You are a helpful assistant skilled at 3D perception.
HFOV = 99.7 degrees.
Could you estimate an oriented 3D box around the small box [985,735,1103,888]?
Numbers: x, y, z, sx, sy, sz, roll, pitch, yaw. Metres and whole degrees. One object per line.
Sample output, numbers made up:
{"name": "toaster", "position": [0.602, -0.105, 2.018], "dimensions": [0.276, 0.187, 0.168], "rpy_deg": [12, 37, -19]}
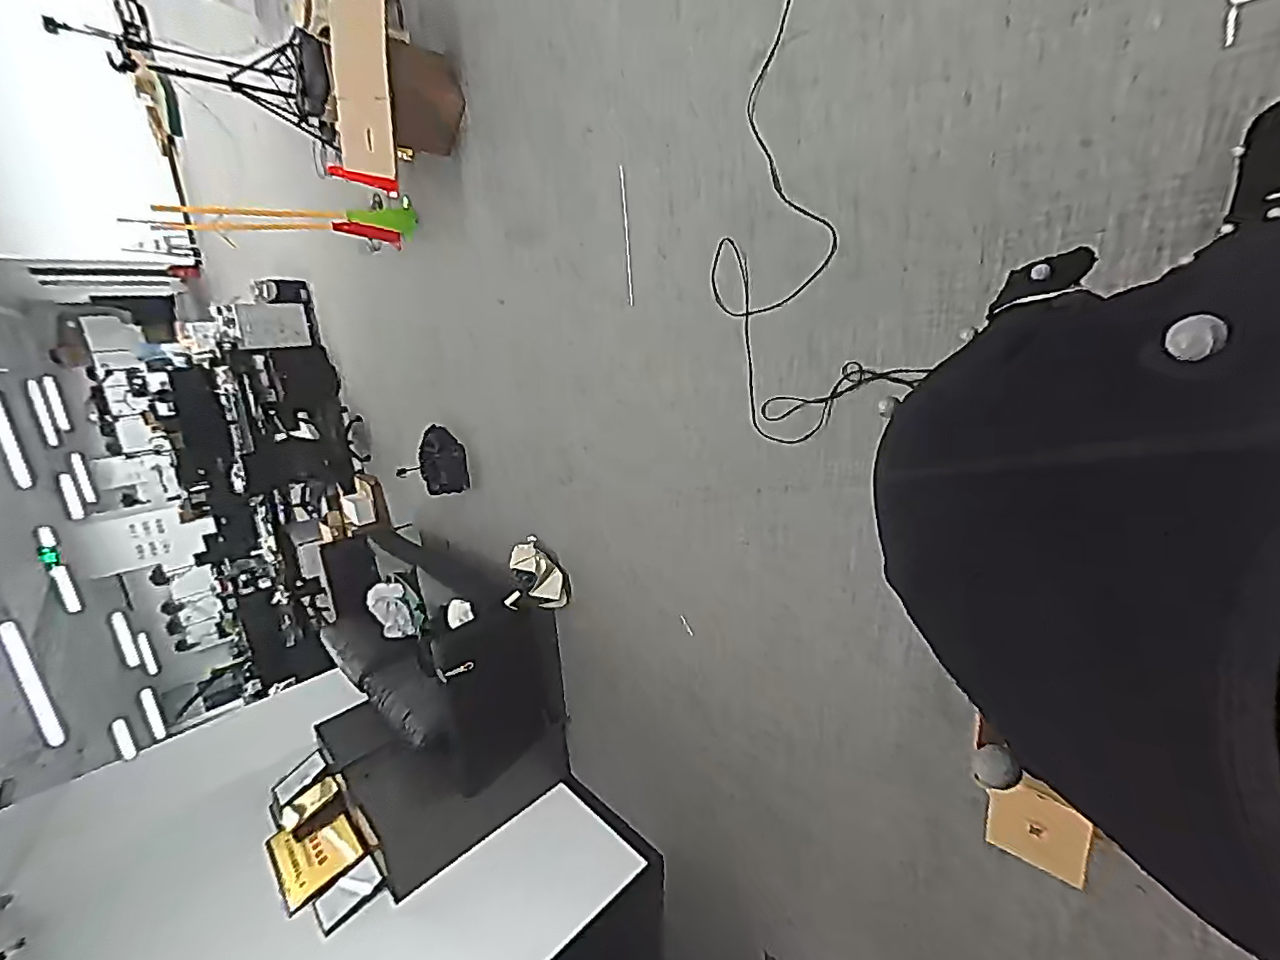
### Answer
{"name": "small box", "position": [0.840, 0.672, 1.124], "dimensions": [0.168, 0.176, 0.179], "rpy_deg": [11, 112, 44]}
